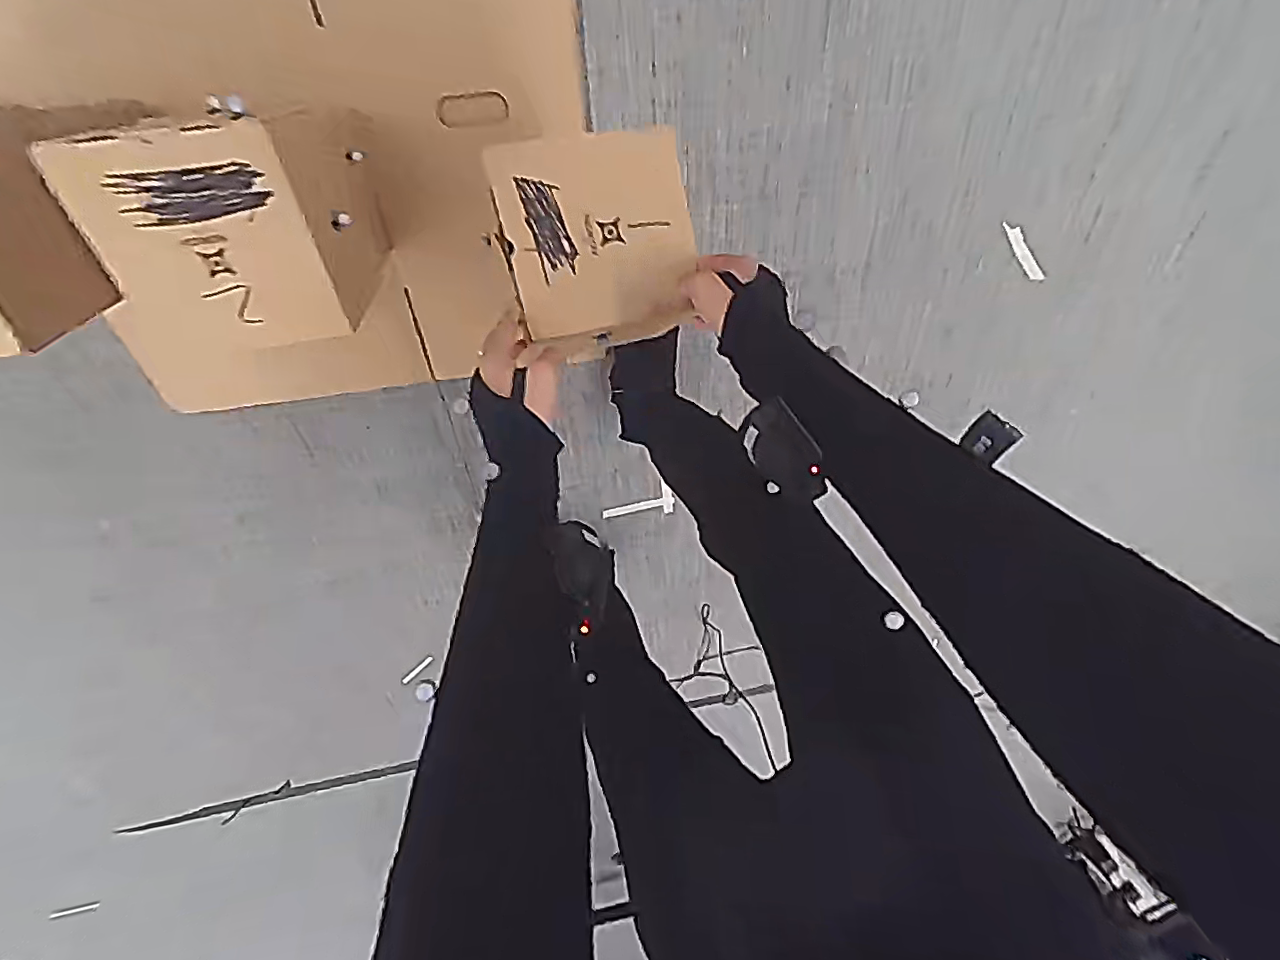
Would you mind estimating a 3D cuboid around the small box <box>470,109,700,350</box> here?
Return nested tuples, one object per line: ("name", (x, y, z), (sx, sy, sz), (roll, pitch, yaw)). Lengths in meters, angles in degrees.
("small box", (-0.061, -0.238, 0.552), (0.179, 0.176, 0.168), (-16, 99, -13))

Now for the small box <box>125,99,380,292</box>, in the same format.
("small box", (-0.423, -0.336, 0.632), (0.168, 0.176, 0.179), (-7, 128, -9))

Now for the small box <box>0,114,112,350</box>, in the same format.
("small box", (-0.625, -0.218, 0.456), (0.168, 0.176, 0.179), (-7, 129, -9))
